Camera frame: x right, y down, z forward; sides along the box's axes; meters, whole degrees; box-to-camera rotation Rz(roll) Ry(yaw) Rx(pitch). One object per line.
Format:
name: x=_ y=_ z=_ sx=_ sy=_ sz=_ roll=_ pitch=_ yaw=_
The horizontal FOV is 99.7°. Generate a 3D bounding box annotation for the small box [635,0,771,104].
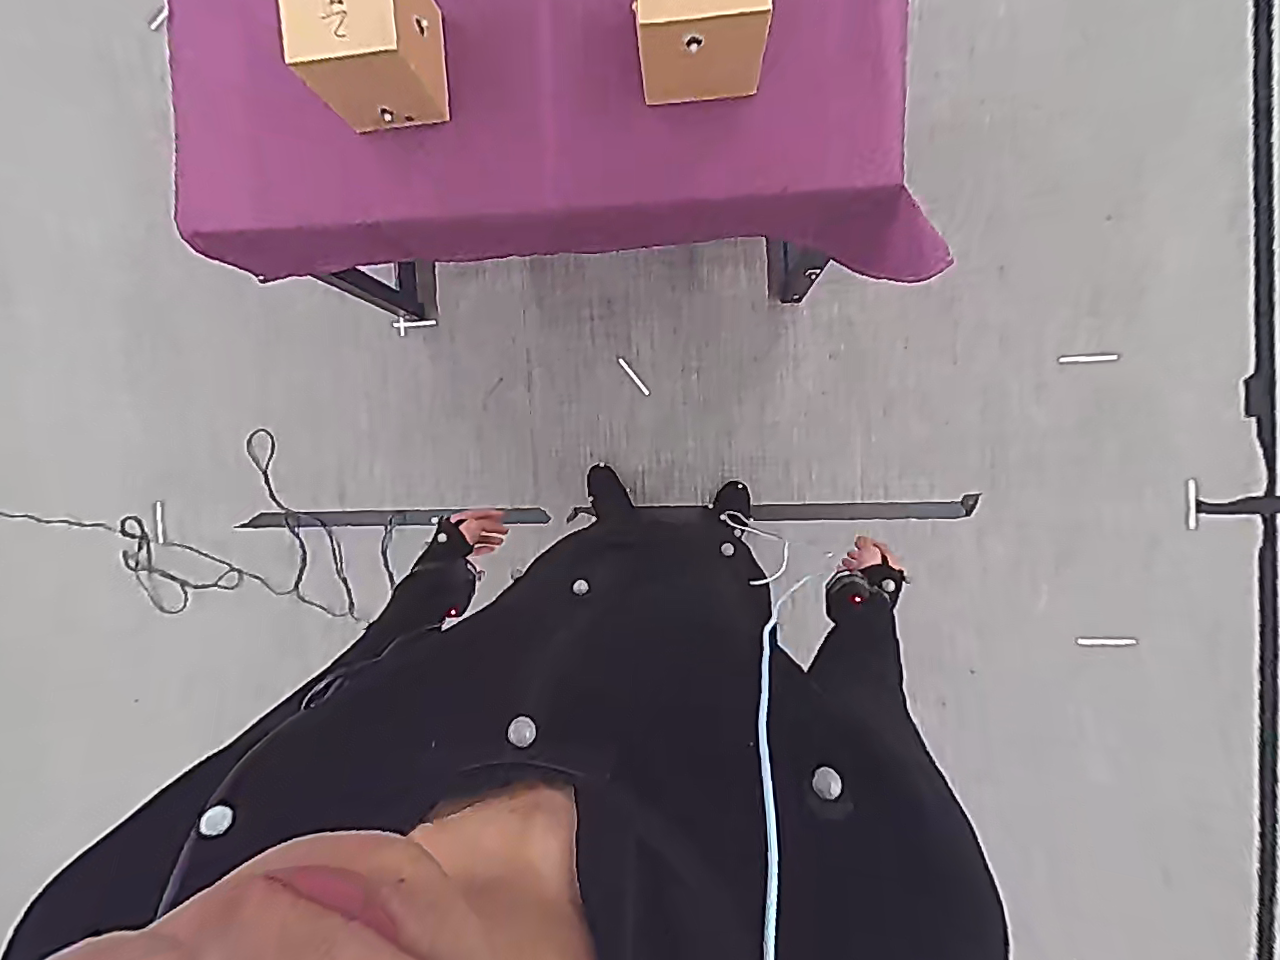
small box: x=0.087 y=-0.676 z=0.774 sx=0.179 sy=0.176 sz=0.168 roll=-2 pitch=93 yaw=5
